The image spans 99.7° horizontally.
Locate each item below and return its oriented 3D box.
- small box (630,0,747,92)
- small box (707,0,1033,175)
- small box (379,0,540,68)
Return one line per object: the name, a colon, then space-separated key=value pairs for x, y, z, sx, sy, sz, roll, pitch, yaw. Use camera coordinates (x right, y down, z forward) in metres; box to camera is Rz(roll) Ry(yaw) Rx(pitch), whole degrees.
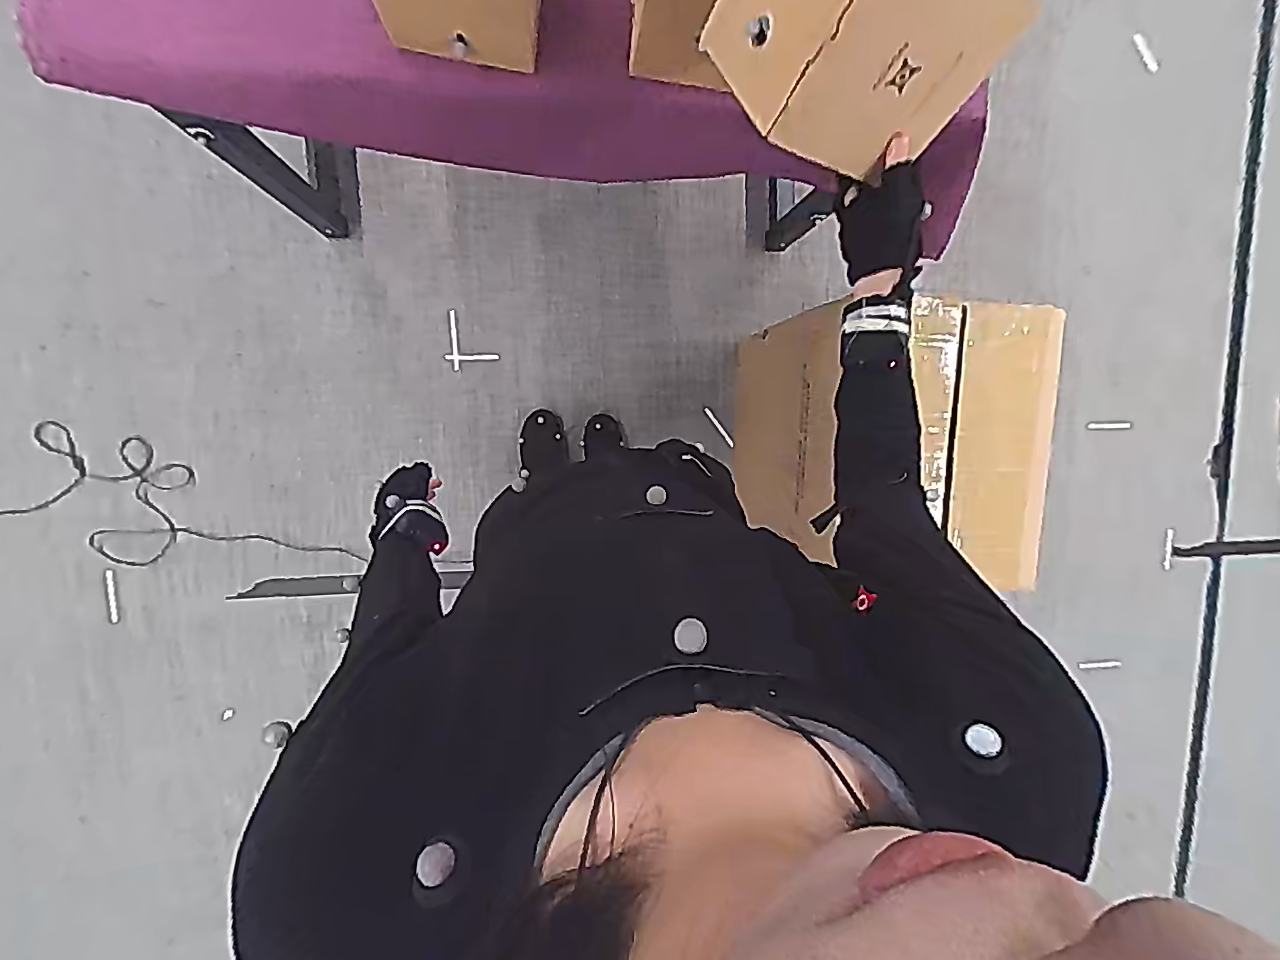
small box: x=0.090 y=-0.603 z=0.642 sx=0.179 sy=0.176 sz=0.168 roll=4 pitch=95 yaw=-8
small box: x=0.186 y=-0.412 z=0.472 sx=0.179 sy=0.168 sz=0.176 roll=-3 pitch=60 yaw=-32
small box: x=-0.199 y=-0.606 z=0.602 sx=0.179 sy=0.176 sz=0.168 roll=4 pitch=95 yaw=-10
